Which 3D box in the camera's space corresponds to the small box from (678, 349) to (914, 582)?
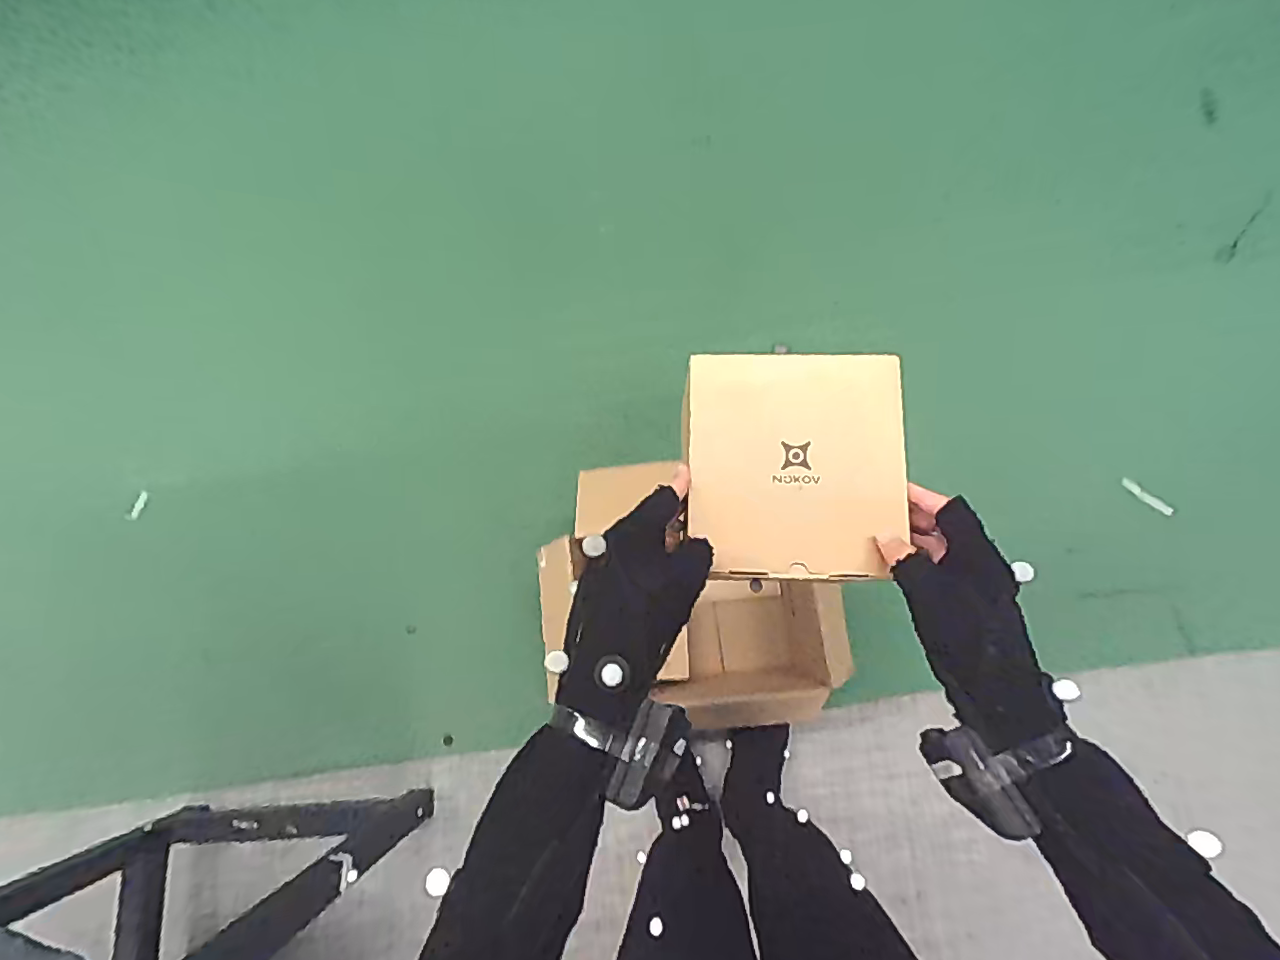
[{"bbox_3d":[0.120,-0.001,0.482,0.168,0.176,0.179,1,81,3],"label":"small box"}]
